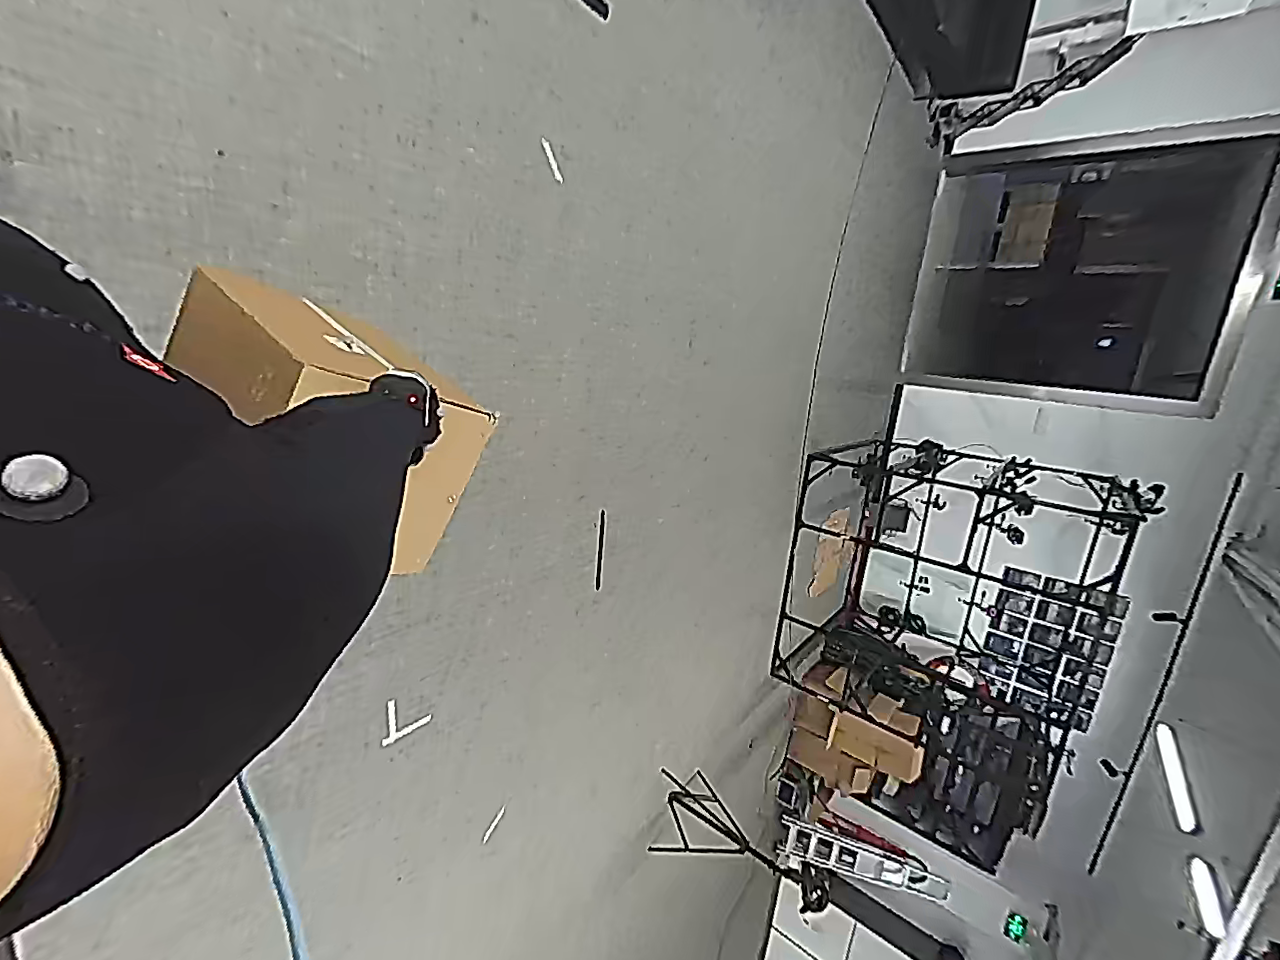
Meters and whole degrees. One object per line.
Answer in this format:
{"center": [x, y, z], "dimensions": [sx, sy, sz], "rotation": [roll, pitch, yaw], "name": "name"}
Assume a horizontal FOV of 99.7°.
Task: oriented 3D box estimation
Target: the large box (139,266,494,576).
{"center": [-0.535, -0.087, 0.897], "dimensions": [0.320, 0.408, 0.320], "rotation": [11, 111, -59], "name": "large box"}
